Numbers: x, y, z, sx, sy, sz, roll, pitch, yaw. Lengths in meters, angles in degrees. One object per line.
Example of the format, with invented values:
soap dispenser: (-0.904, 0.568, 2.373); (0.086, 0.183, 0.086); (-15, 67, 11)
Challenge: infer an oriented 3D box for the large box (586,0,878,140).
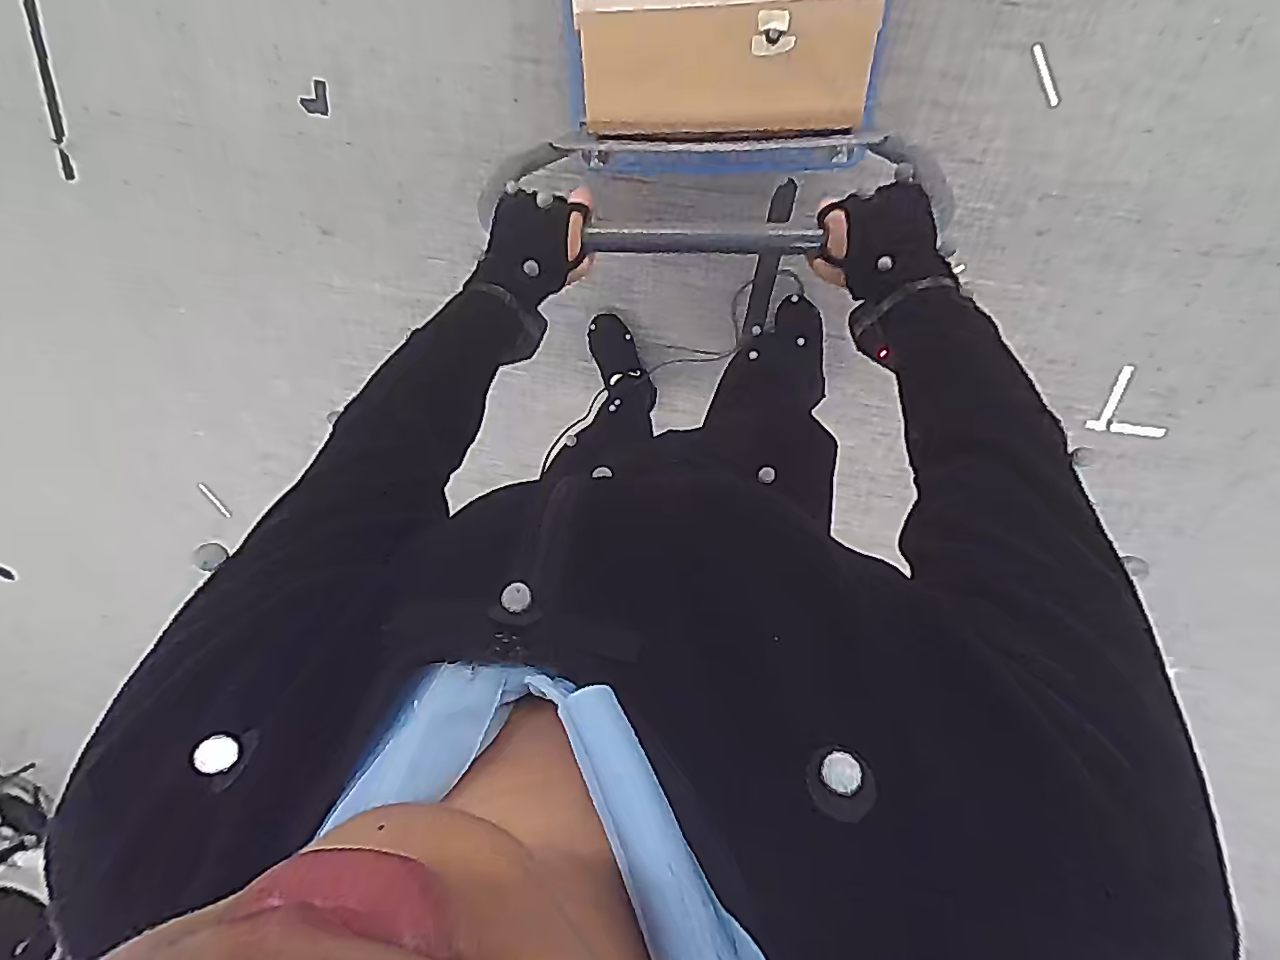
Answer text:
large box: (0.137, -0.737, 0.859); (0.408, 0.320, 0.320); (2, 124, 7)
